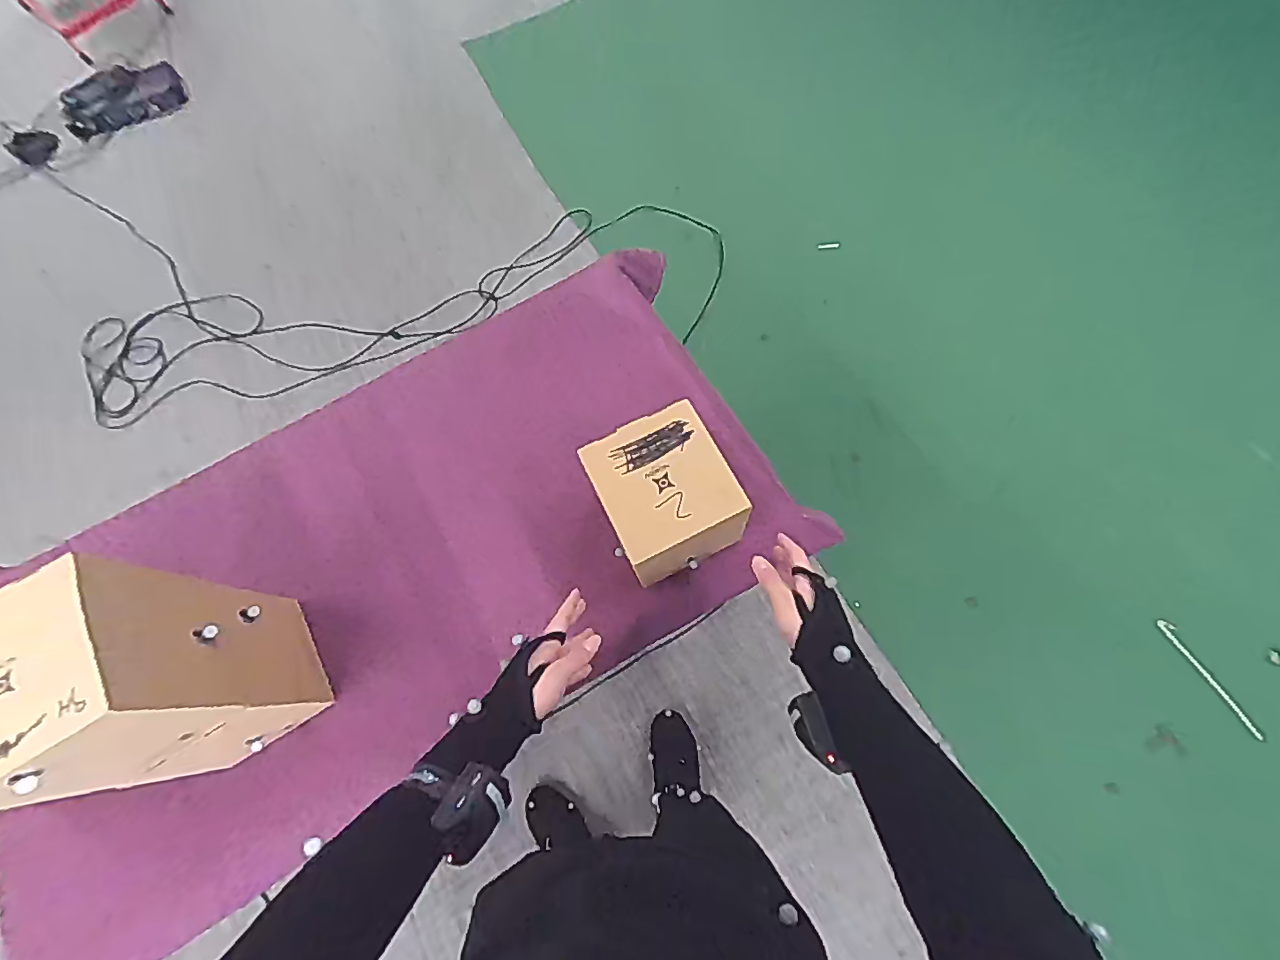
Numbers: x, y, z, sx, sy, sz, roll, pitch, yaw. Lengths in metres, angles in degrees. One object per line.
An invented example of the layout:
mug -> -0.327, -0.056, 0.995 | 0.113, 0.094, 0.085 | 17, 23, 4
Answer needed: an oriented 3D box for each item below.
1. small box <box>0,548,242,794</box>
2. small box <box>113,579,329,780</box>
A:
small box -> -0.572, 0.202, 0.567 | 0.168, 0.176, 0.179 | -32, 70, -7
small box -> -0.560, 0.260, 0.720 | 0.168, 0.176, 0.179 | -31, 71, -7
